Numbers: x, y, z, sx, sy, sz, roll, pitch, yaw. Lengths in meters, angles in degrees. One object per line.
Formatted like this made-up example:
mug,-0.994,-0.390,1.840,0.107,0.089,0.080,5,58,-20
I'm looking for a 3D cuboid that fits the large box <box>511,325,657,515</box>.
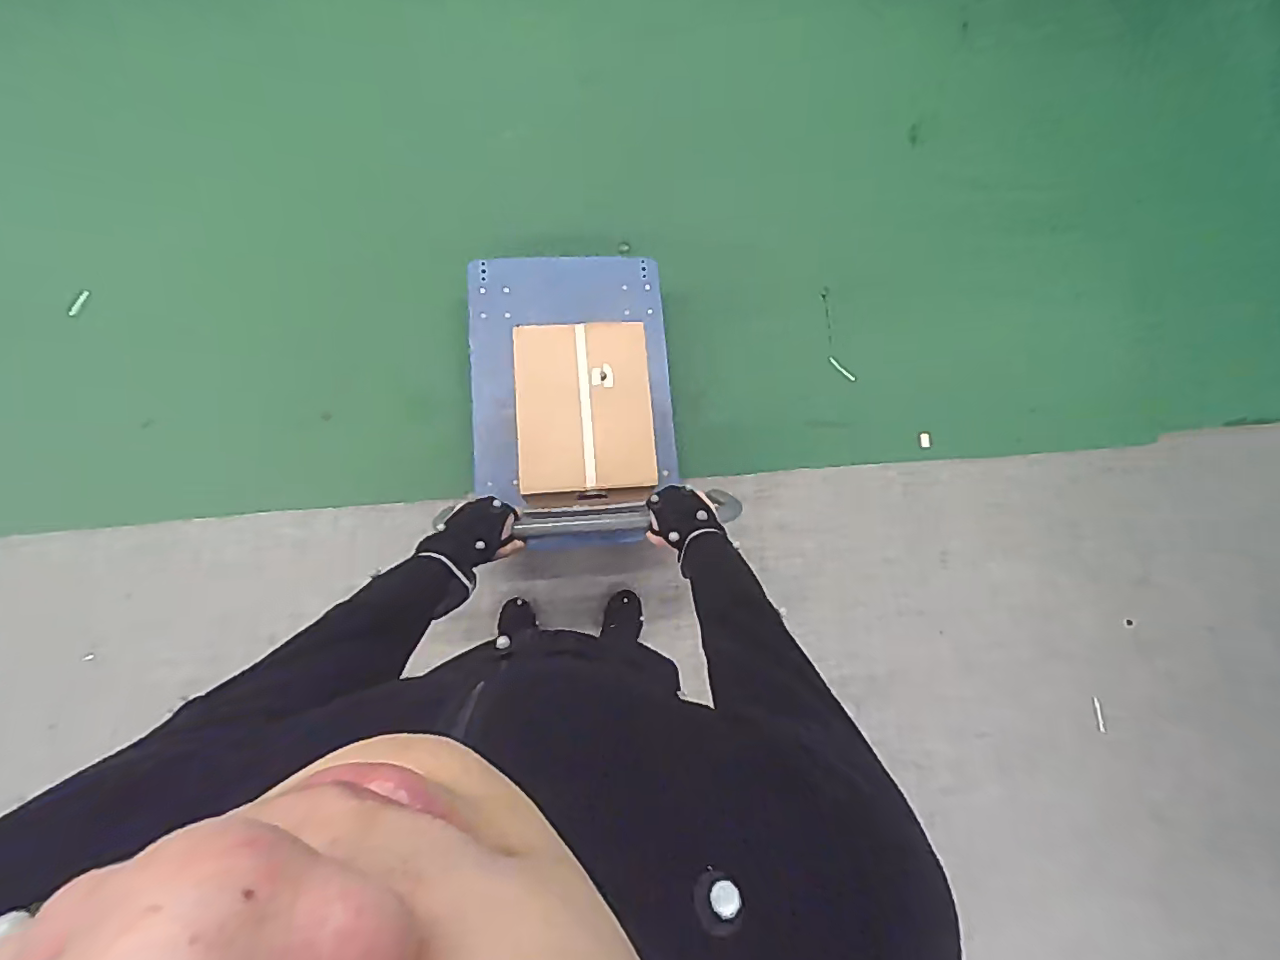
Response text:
large box,-0.148,-0.138,1.391,0.320,0.320,0.408,-4,78,-8
